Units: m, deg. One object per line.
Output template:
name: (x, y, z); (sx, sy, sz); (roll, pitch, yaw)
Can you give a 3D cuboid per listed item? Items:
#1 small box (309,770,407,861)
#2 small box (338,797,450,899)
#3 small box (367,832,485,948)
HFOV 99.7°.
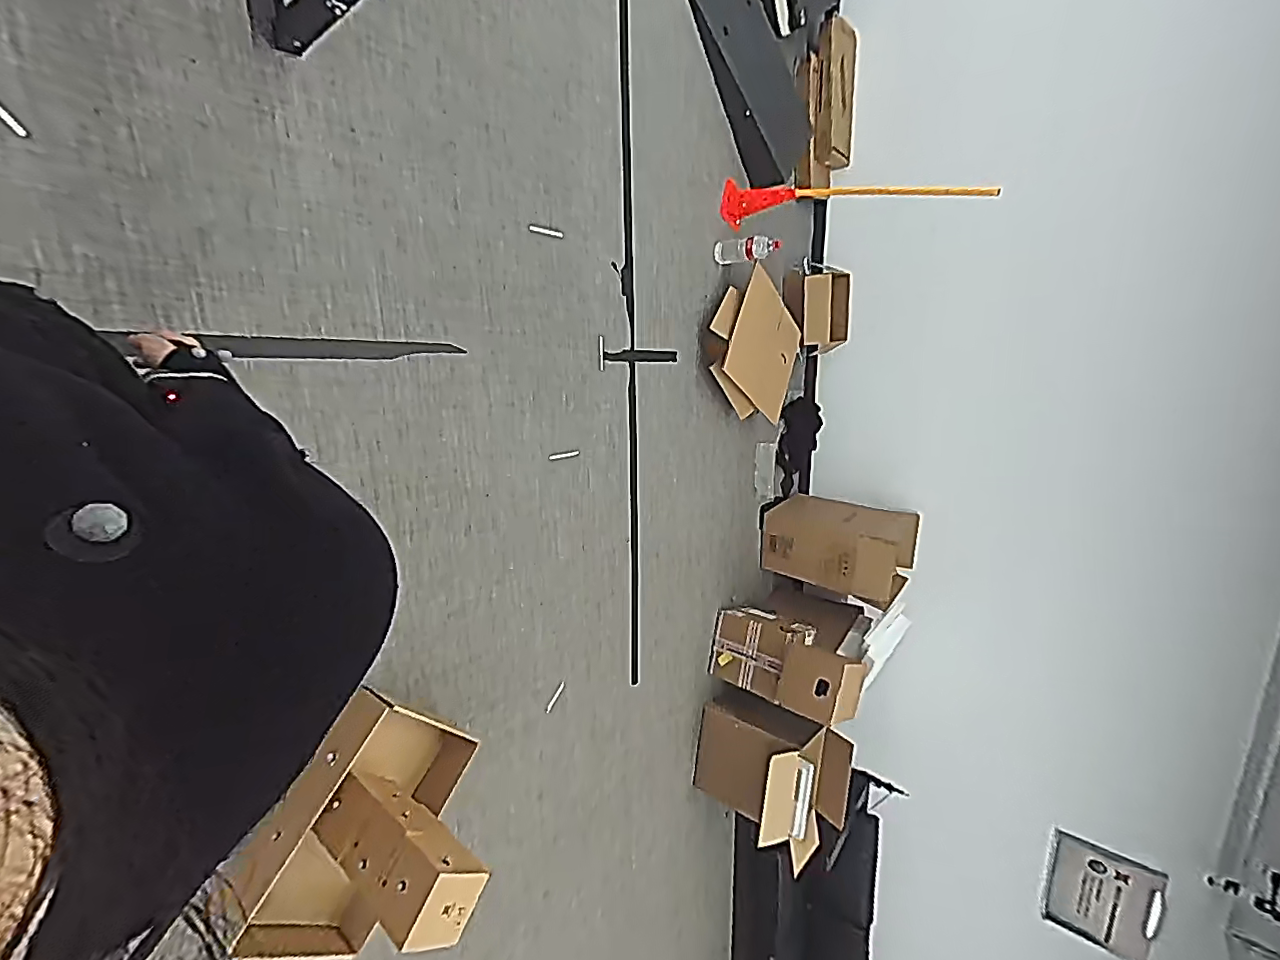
small box: (-0.782, 0.950, 1.527); (0.168, 0.176, 0.179); (-61, 138, -23)
small box: (-0.652, 0.969, 1.432); (0.179, 0.176, 0.168); (49, 62, -47)
small box: (-0.526, 0.997, 1.328); (0.179, 0.176, 0.168); (48, 63, -46)
